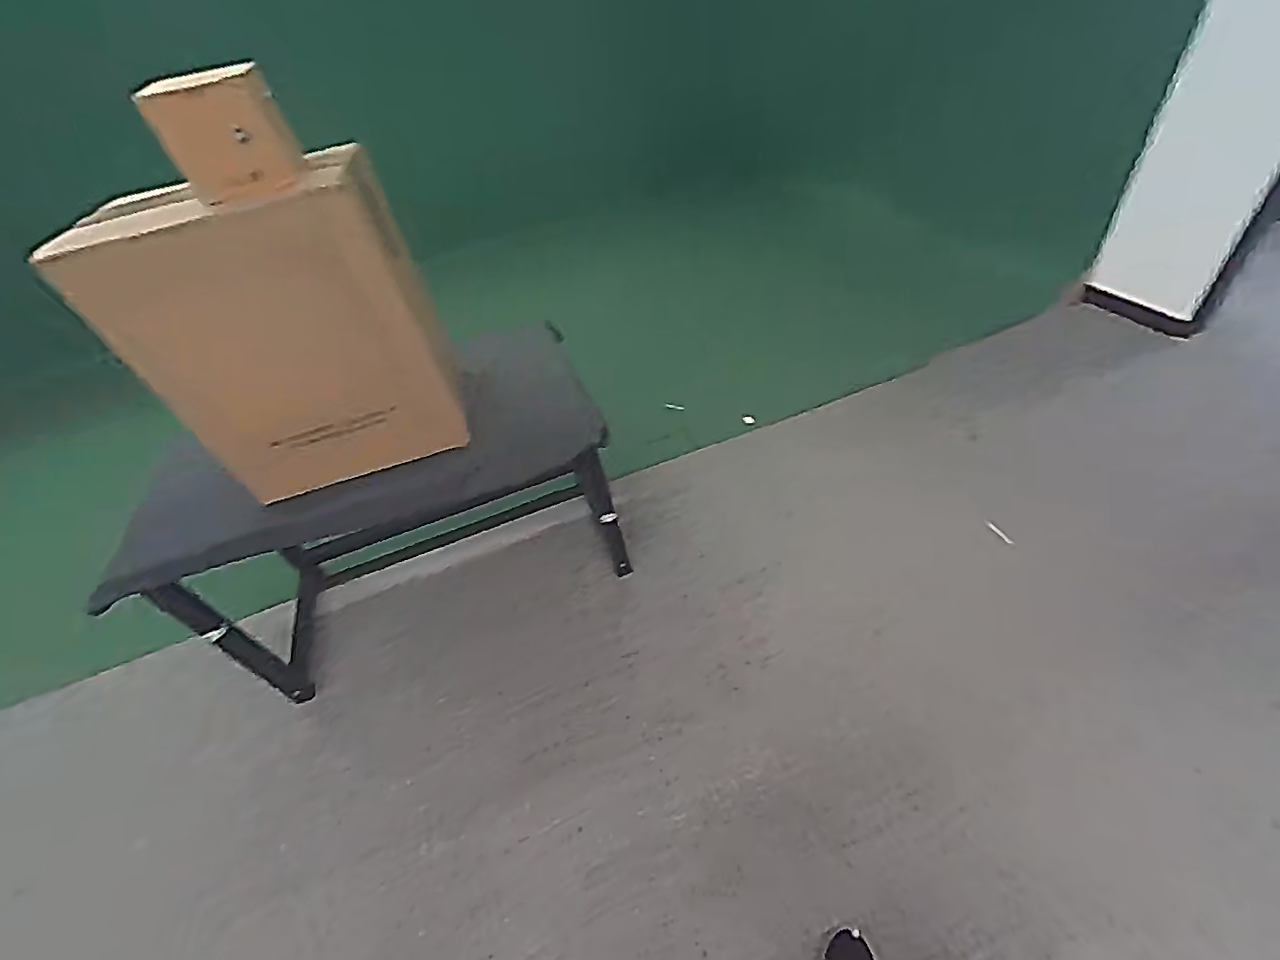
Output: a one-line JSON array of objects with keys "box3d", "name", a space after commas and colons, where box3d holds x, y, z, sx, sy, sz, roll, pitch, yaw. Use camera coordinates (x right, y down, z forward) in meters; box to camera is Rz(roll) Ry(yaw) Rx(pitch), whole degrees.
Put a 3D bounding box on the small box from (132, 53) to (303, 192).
[{"box3d": [-0.729, -0.630, 0.959, 0.168, 0.176, 0.179, -19, 46, -11], "name": "small box"}]
